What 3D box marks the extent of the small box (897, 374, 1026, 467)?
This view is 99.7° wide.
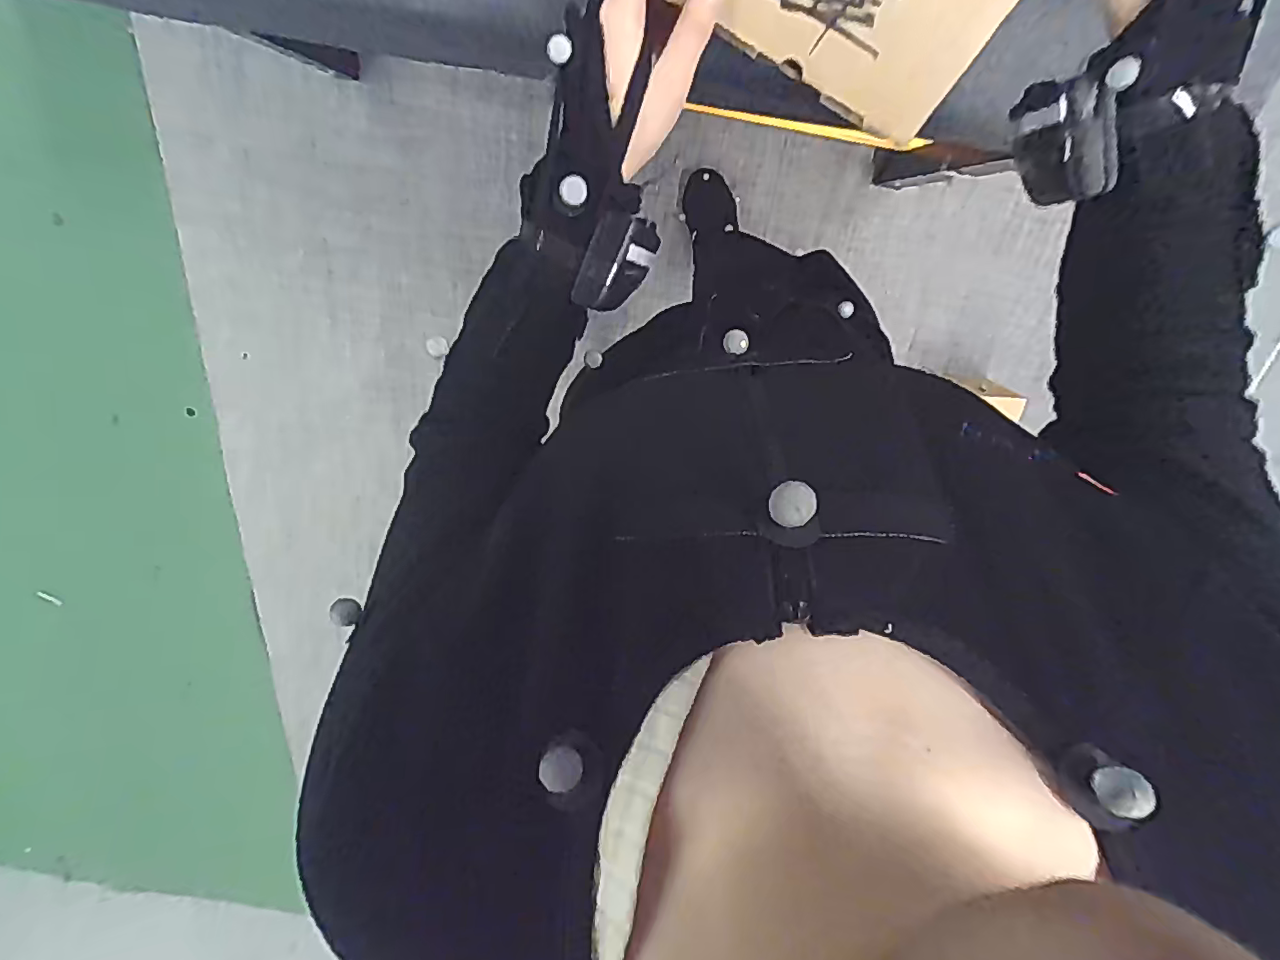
[{"bbox_3d":[0.725,-0.142,1.242,0.179,0.176,0.168,4,114,2],"label":"small box"}]
